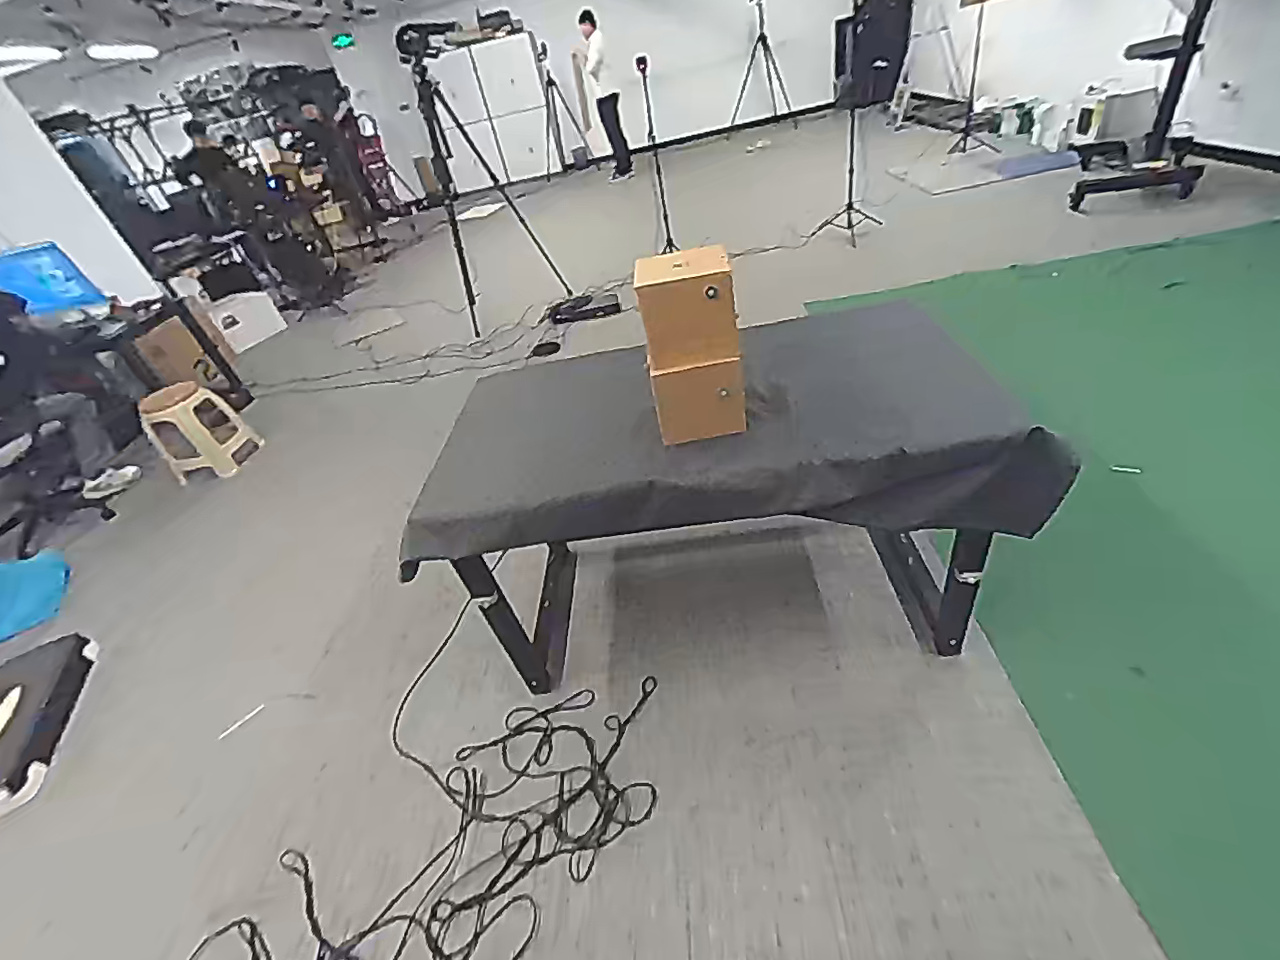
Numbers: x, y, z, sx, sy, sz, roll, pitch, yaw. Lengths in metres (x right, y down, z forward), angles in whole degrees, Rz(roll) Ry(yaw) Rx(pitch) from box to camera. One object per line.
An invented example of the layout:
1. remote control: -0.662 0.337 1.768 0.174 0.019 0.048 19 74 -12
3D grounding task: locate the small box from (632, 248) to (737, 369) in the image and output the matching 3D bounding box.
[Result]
1. small box: 0.088 -0.330 1.055 0.179 0.176 0.168 -8 37 7
